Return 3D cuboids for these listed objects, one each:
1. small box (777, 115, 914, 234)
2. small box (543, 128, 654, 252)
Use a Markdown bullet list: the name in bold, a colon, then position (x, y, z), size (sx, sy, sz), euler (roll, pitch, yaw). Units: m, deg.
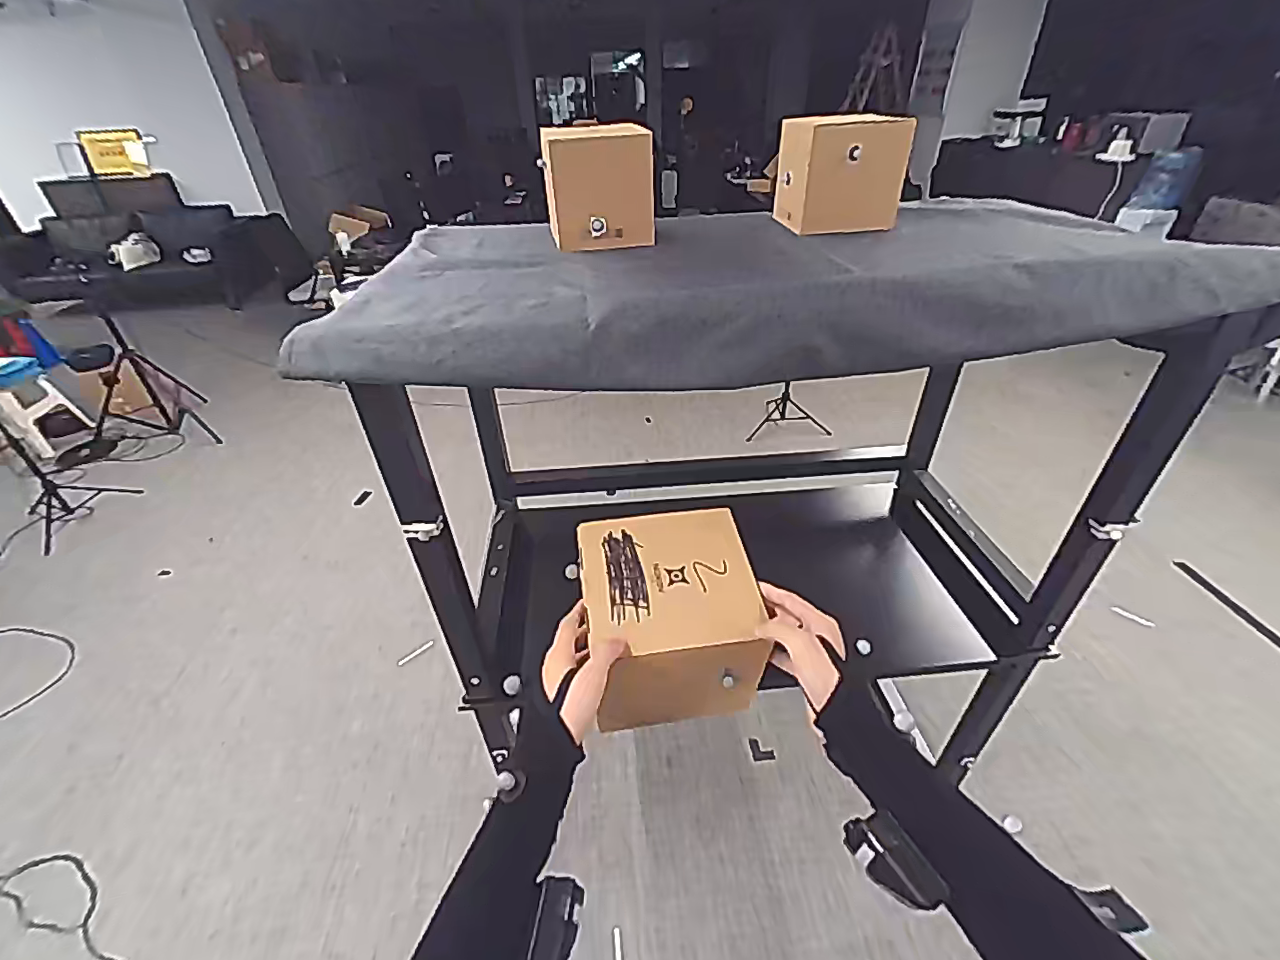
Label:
- **small box**: position (0.355, -0.552, 0.978), size (0.179, 0.176, 0.168), euler (-4, 37, -3)
- **small box**: position (-0.074, -0.504, 0.938), size (0.168, 0.176, 0.179), euler (-9, 37, -8)
